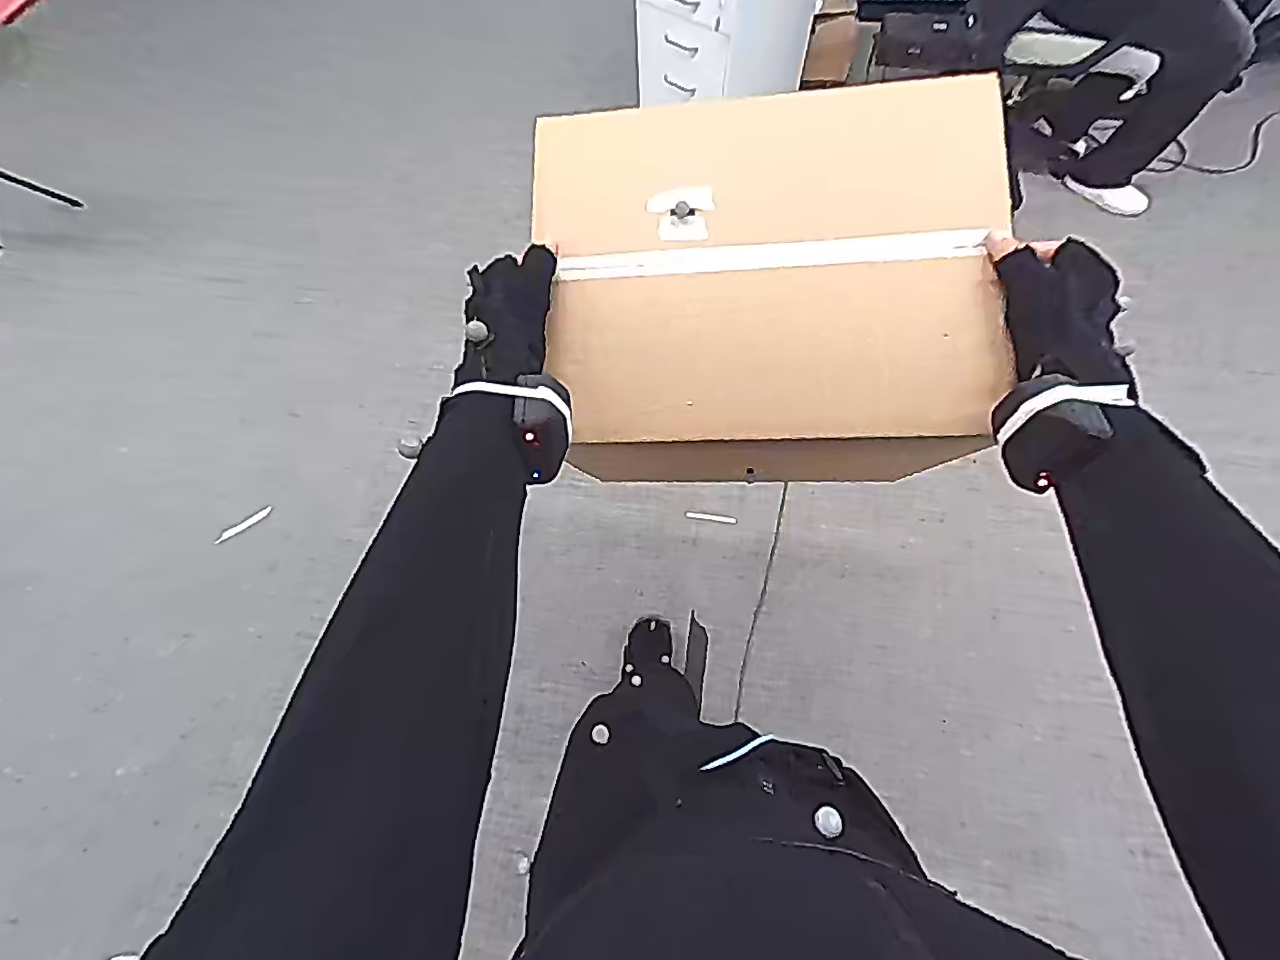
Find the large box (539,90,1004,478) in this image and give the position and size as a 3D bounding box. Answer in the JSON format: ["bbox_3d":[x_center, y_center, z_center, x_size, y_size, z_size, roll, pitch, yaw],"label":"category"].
[{"bbox_3d":[0.128,-0.172,0.634,0.408,0.320,0.320,0,82,9],"label":"large box"}]
